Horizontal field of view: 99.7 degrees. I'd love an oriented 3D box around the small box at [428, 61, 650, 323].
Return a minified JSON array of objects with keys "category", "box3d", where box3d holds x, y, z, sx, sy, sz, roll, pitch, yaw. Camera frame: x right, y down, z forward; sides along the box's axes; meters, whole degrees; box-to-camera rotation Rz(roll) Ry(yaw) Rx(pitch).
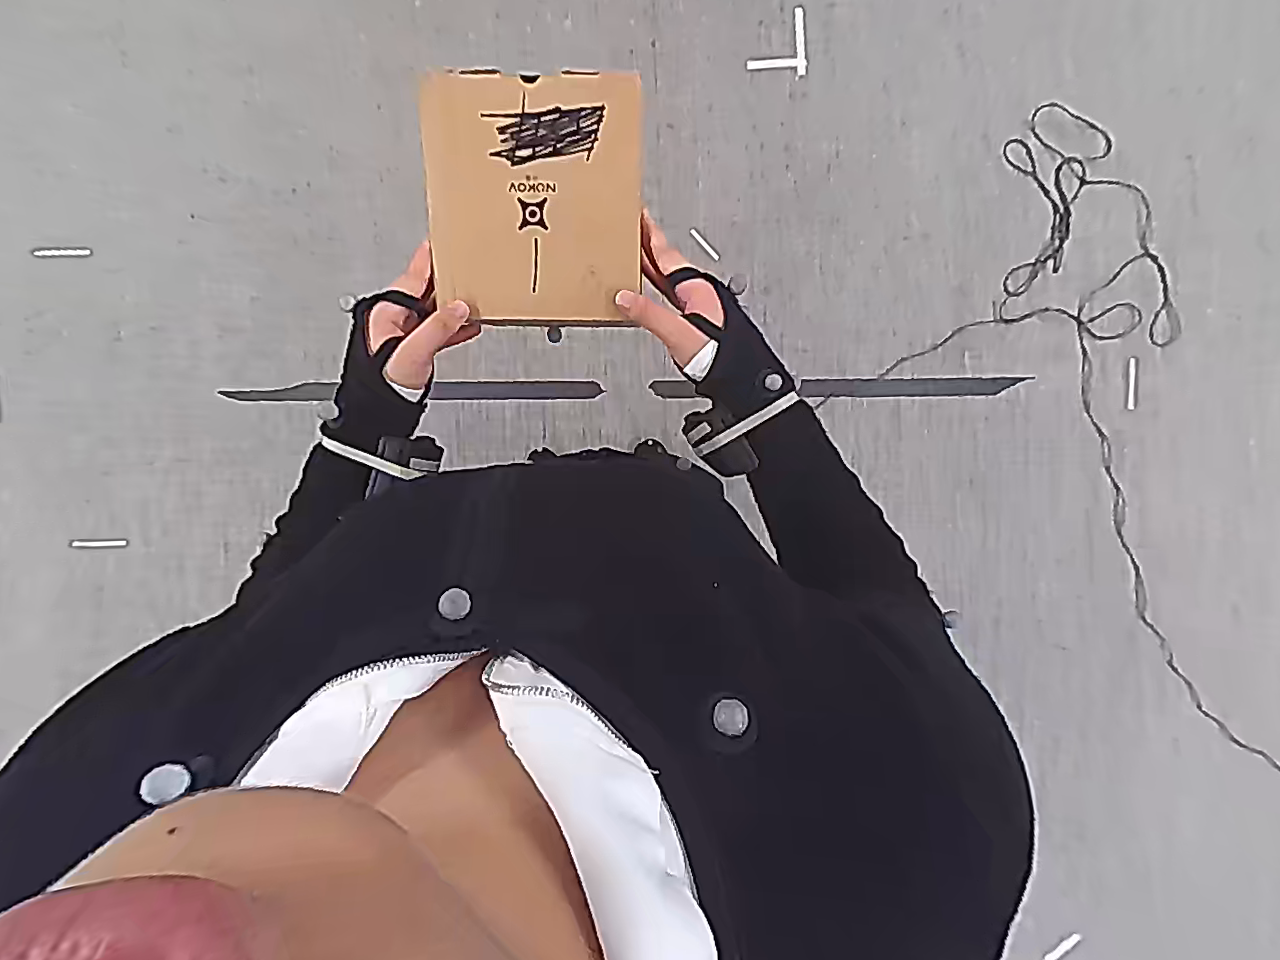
[{"category":"small box","box3d":[-0.077,-0.240,0.493,0.168,0.176,0.179,1,104,1]}]
